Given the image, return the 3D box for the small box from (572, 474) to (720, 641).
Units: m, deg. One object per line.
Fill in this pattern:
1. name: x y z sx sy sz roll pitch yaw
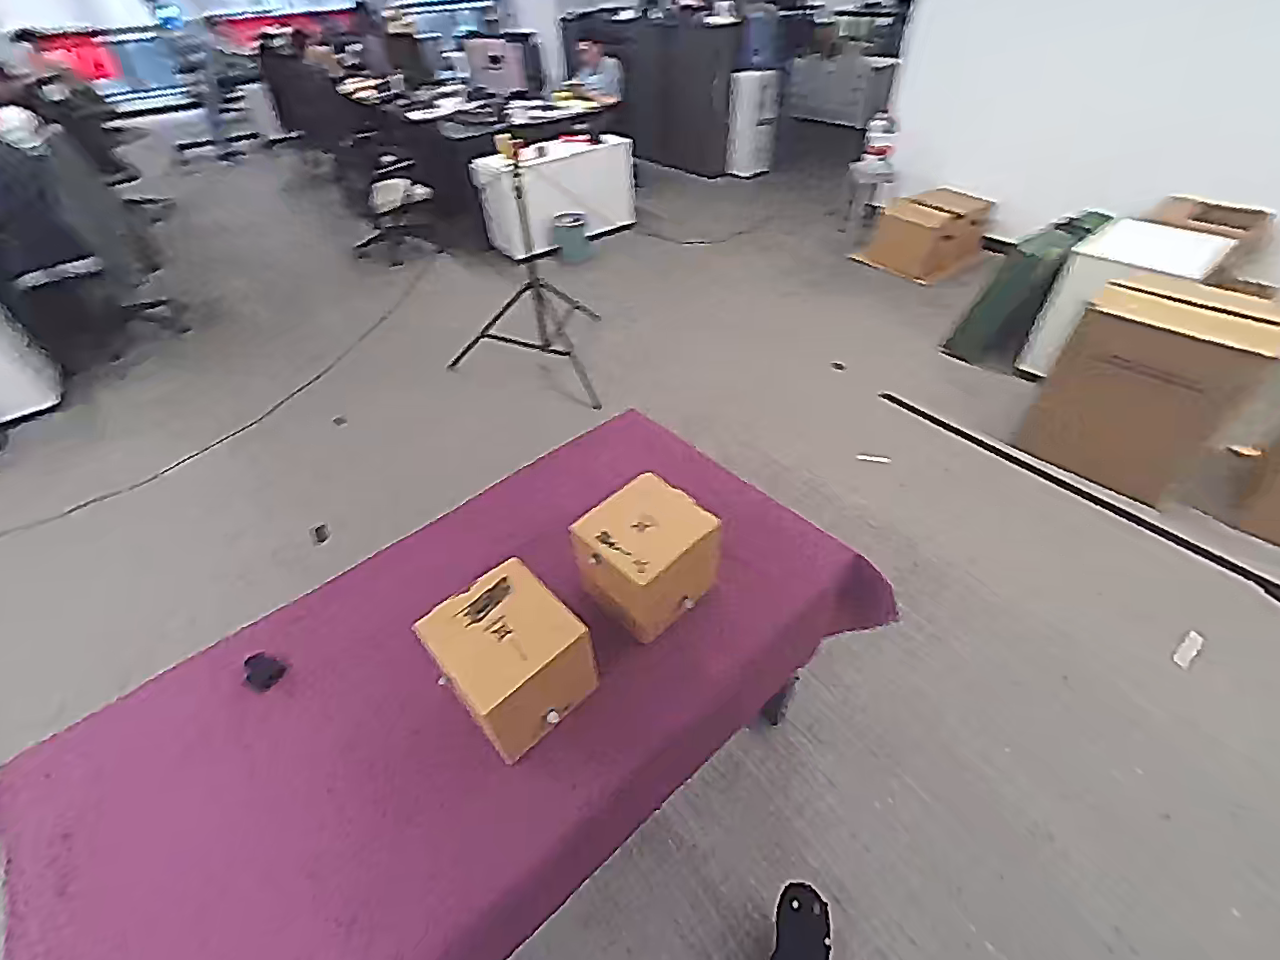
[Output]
1. small box: 0.011 0.127 0.898 0.179 0.176 0.168 -35 51 -28

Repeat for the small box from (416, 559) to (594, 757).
1. small box: -0.185 0.255 0.777 0.168 0.176 0.179 -35 52 -29
